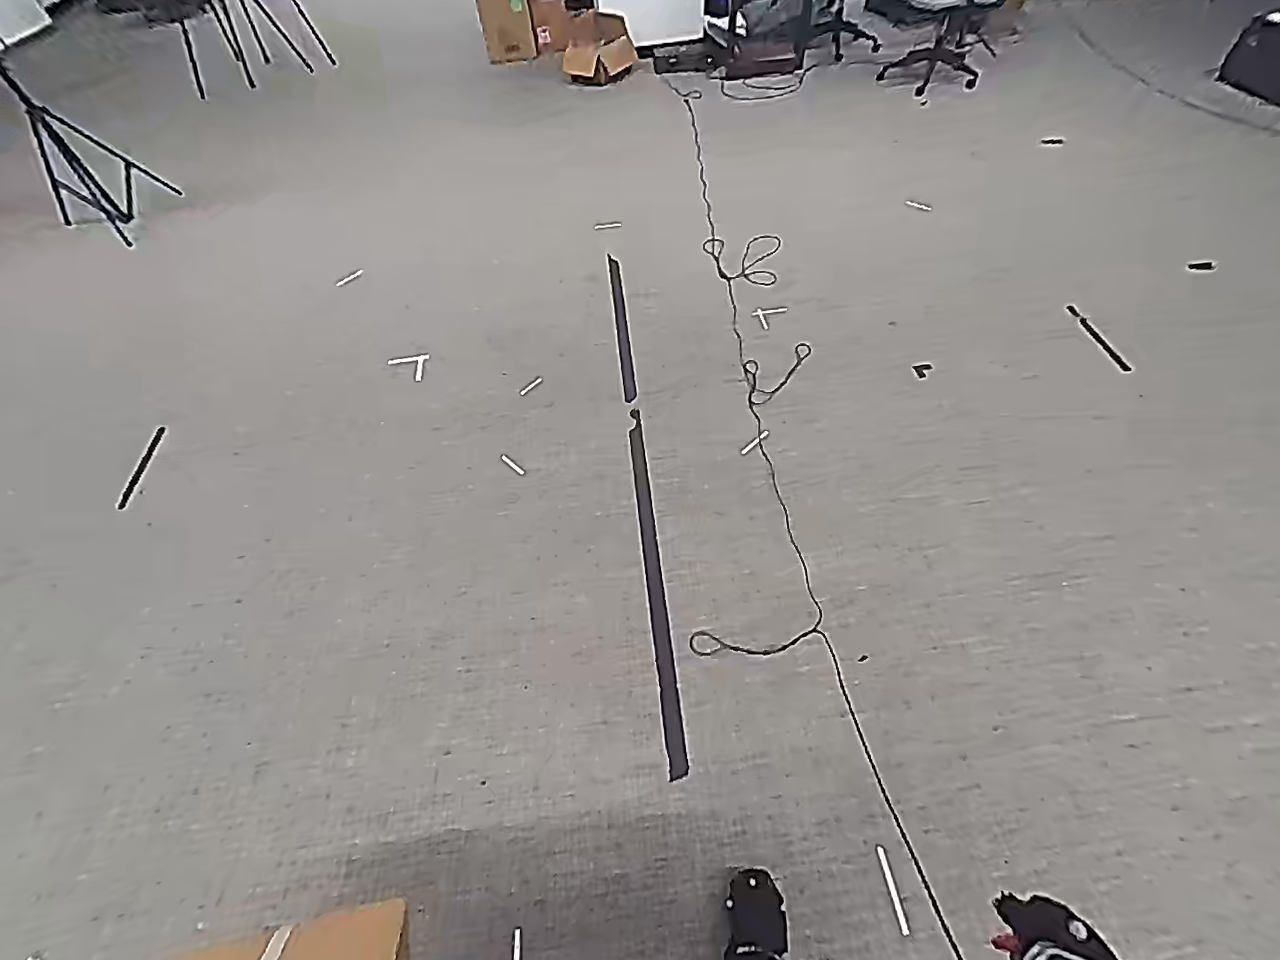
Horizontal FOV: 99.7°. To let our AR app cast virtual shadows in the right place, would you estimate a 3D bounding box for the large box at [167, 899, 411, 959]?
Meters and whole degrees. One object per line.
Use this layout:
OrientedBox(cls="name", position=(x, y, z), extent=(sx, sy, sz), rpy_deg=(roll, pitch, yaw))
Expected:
OrientedBox(cls="large box", position=(-0.425, 0.772, 0.574), extent=(0.320, 0.408, 0.320), rpy_deg=(-5, 88, -15))
